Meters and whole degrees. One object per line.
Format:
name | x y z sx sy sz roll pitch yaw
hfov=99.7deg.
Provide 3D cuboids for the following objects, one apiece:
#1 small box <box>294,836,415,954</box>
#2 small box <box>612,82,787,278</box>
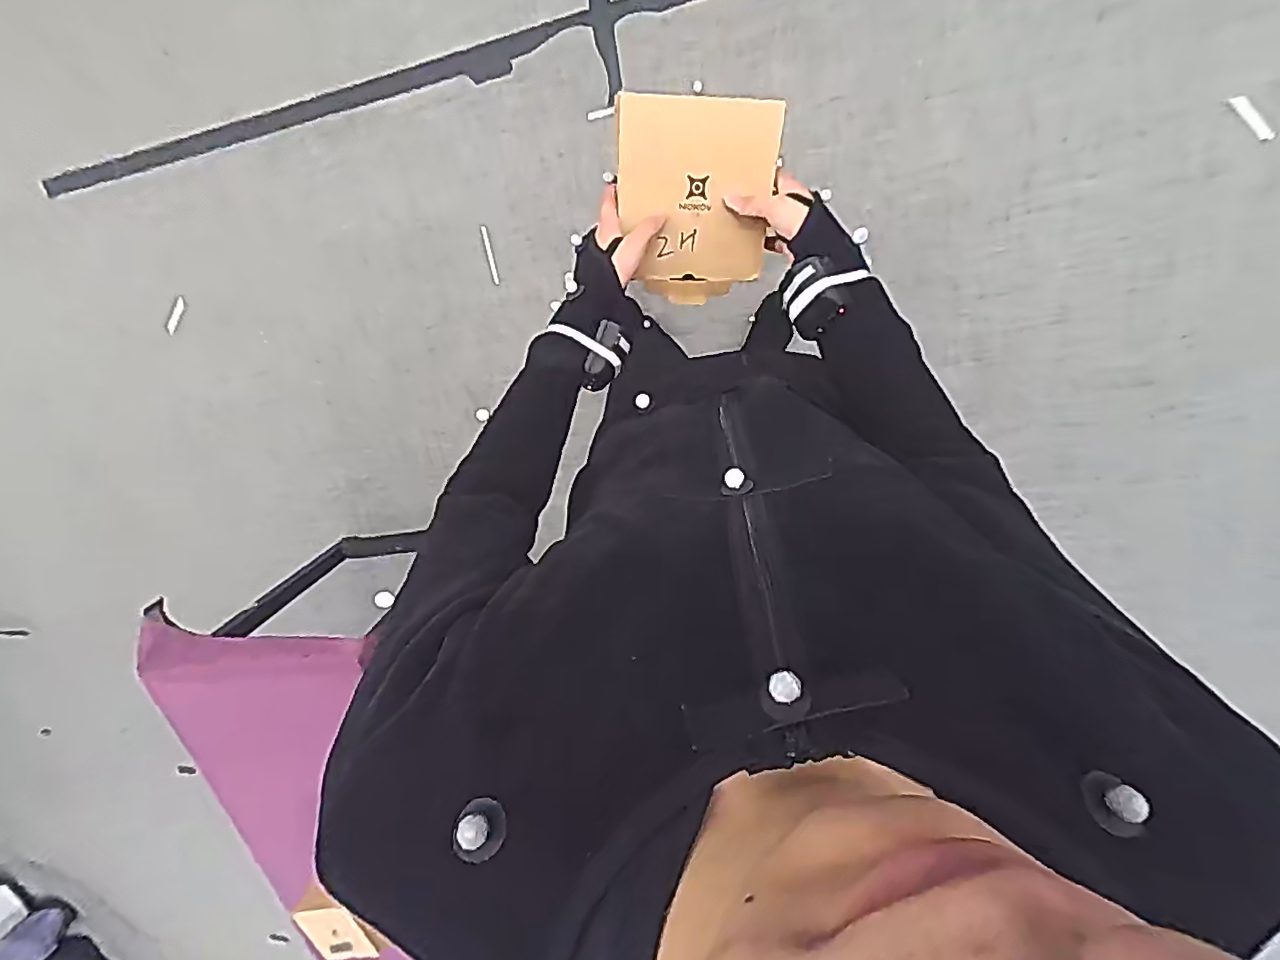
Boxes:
small box | -0.701 1.034 1.353 0.168 0.176 0.179 -17 108 15
small box | 0.053 -0.347 0.629 0.168 0.176 0.179 0 125 -4
